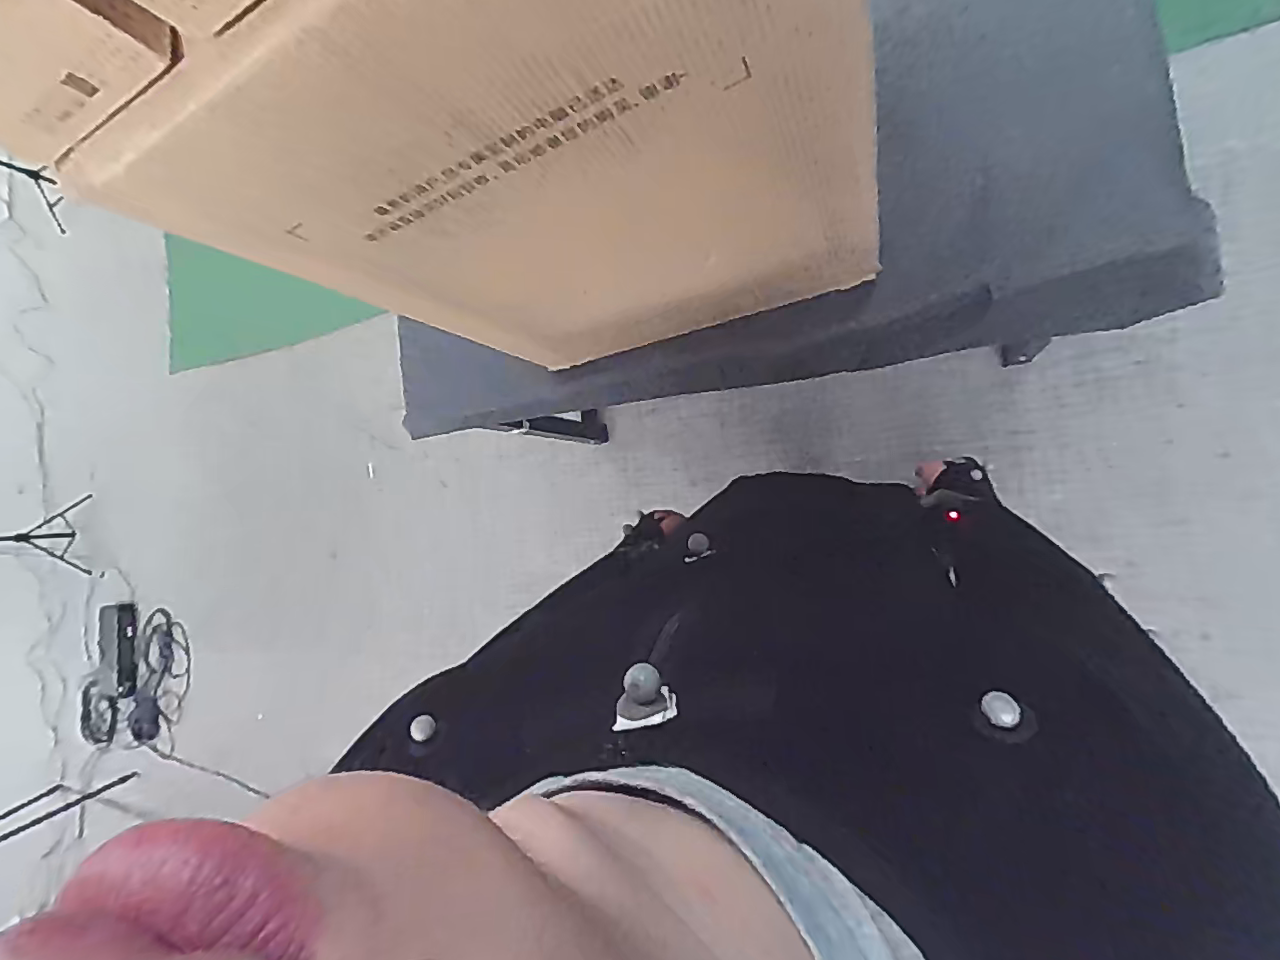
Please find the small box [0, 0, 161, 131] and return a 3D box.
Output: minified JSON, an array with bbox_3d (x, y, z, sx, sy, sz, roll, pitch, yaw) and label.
[{"bbox_3d":[-0.387,-0.321,0.277,0.168,0.176,0.179,-9,87,24],"label":"small box"}]
